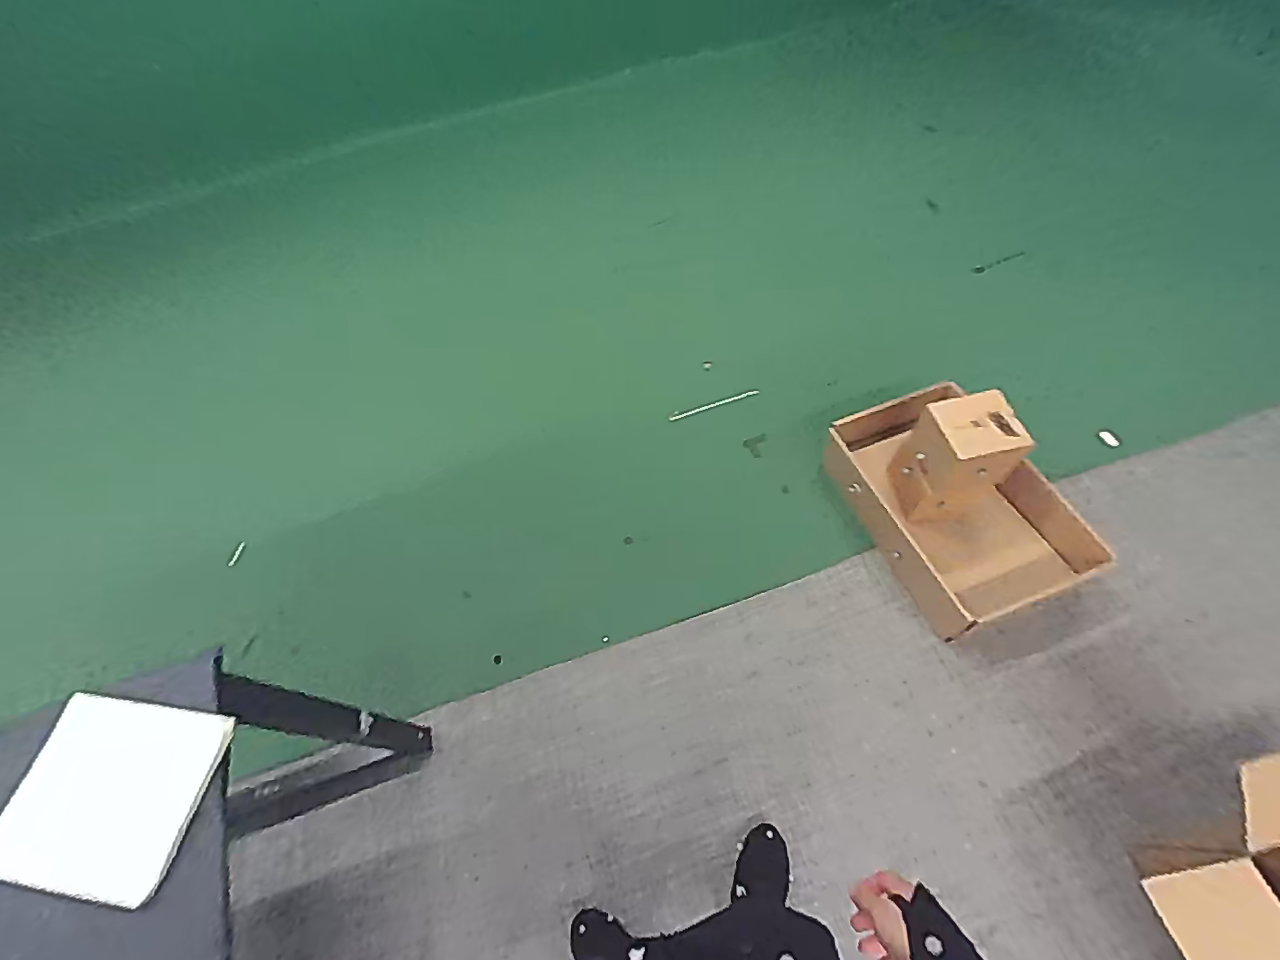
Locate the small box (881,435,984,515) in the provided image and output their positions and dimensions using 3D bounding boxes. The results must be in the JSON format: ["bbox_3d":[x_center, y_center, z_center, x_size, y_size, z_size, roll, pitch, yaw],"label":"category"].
[{"bbox_3d":[0.788,-0.015,1.478,0.168,0.176,0.179,-9,60,0],"label":"small box"}]

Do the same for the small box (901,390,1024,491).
[{"bbox_3d":[0.782,-0.094,1.332,0.179,0.176,0.168,-12,59,0],"label":"small box"}]
